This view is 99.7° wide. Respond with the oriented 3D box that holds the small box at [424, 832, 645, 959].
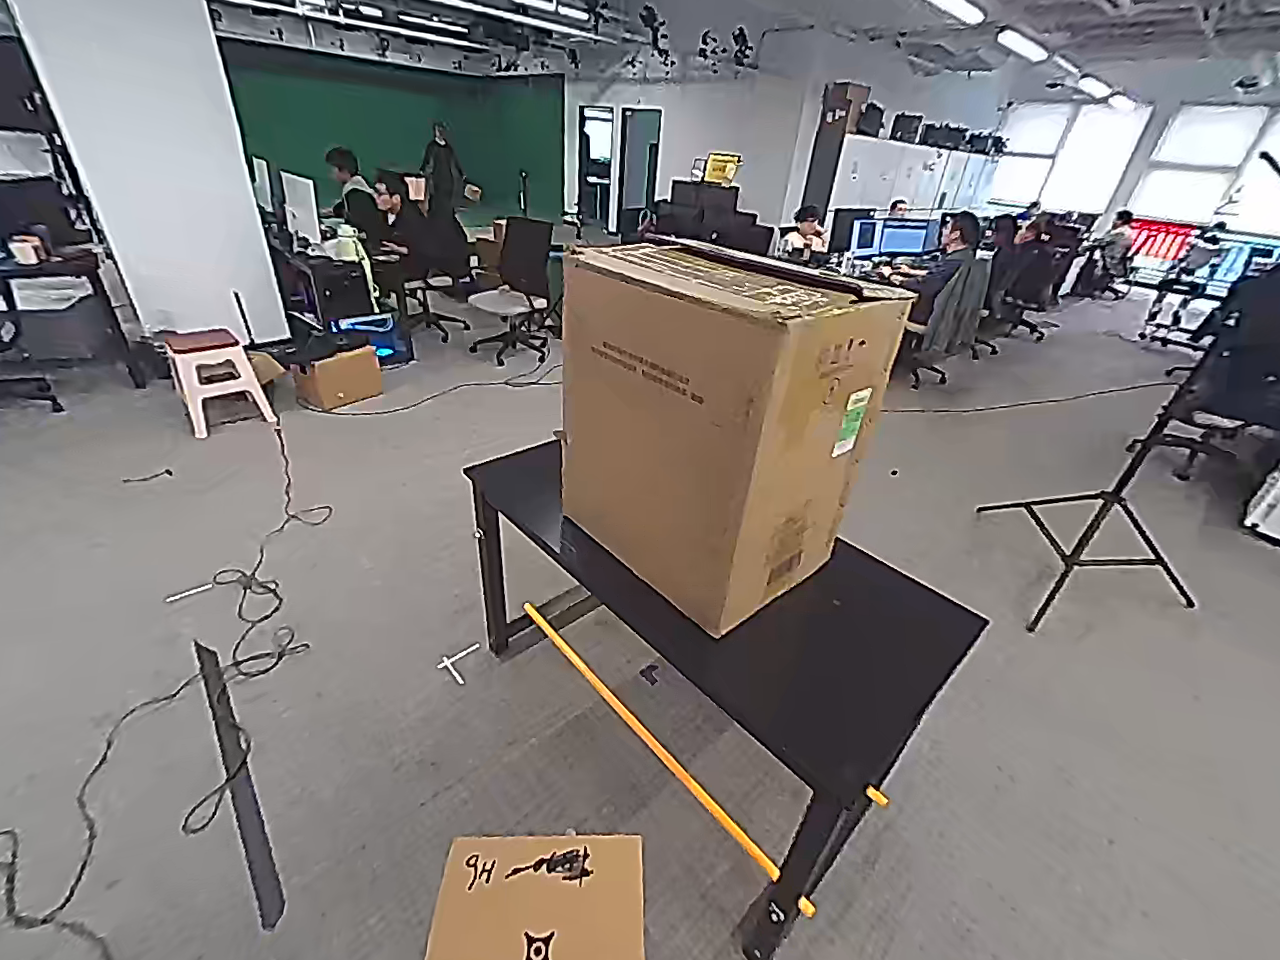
[{"bbox_3d":[-0.079,0.419,0.443,0.168,0.176,0.179,1,37,-3],"label":"small box"}]
